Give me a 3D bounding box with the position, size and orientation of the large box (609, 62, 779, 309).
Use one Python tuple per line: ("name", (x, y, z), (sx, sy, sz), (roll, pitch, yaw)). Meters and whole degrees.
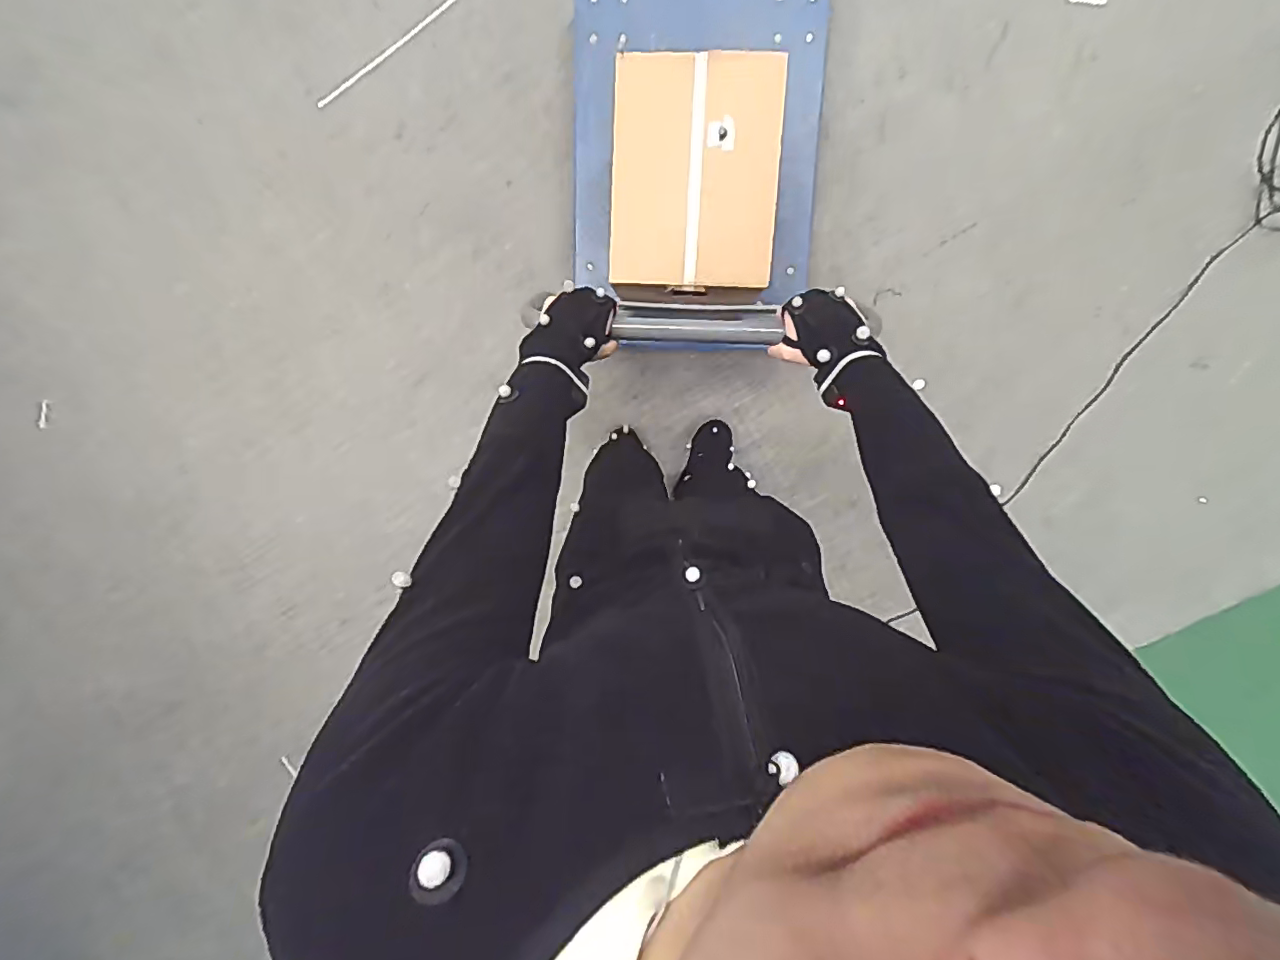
("large box", (0.110, -0.602, 1.181), (0.320, 0.320, 0.408), (3, 100, 3))
